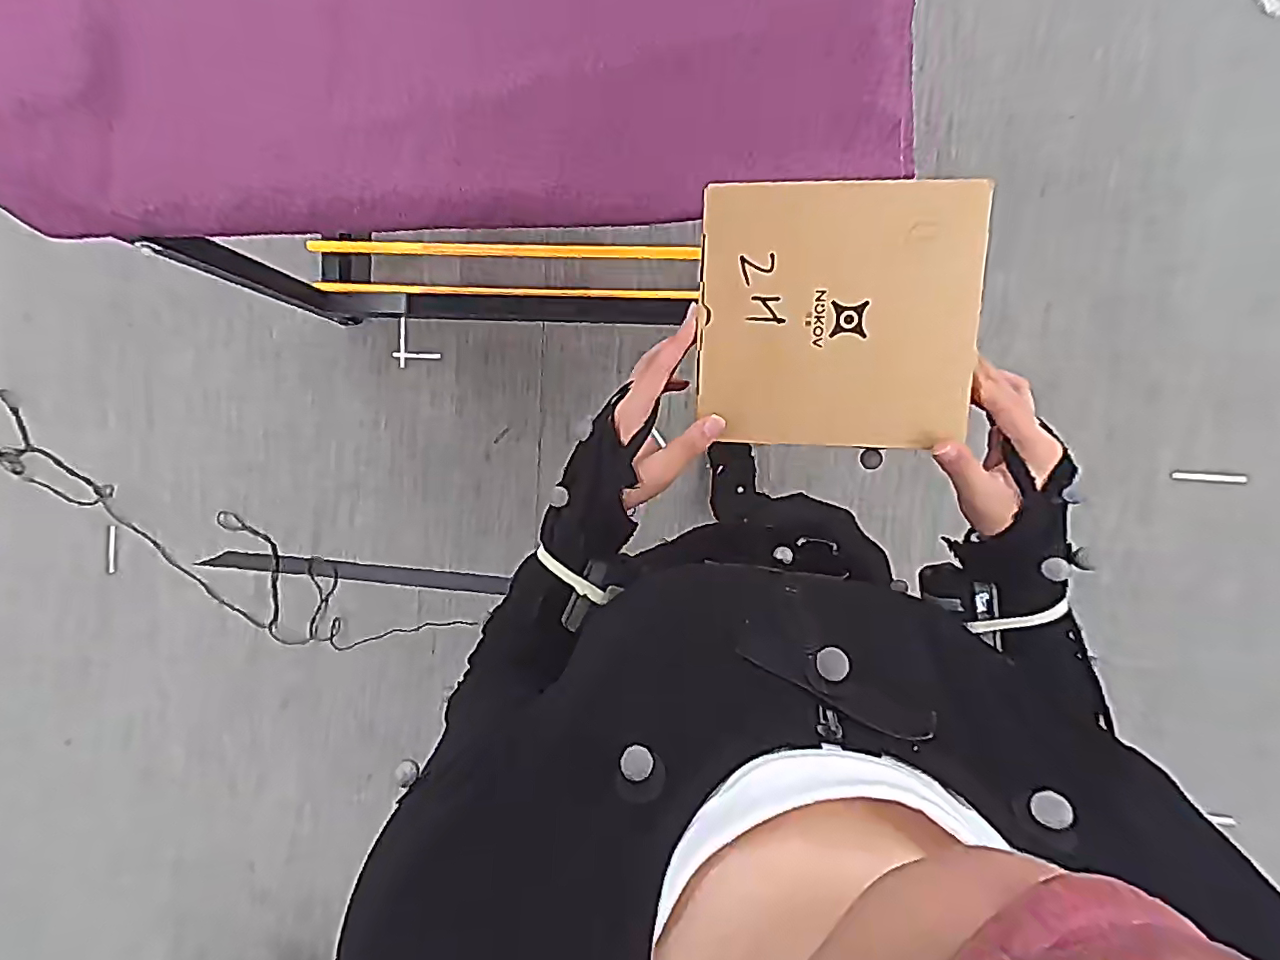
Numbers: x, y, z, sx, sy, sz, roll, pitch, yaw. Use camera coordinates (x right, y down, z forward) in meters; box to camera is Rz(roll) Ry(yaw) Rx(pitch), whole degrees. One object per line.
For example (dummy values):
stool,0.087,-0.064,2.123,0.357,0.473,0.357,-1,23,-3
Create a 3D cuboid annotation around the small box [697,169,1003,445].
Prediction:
small box,0.137,-0.118,0.419,0.179,0.176,0.168,3,97,7
